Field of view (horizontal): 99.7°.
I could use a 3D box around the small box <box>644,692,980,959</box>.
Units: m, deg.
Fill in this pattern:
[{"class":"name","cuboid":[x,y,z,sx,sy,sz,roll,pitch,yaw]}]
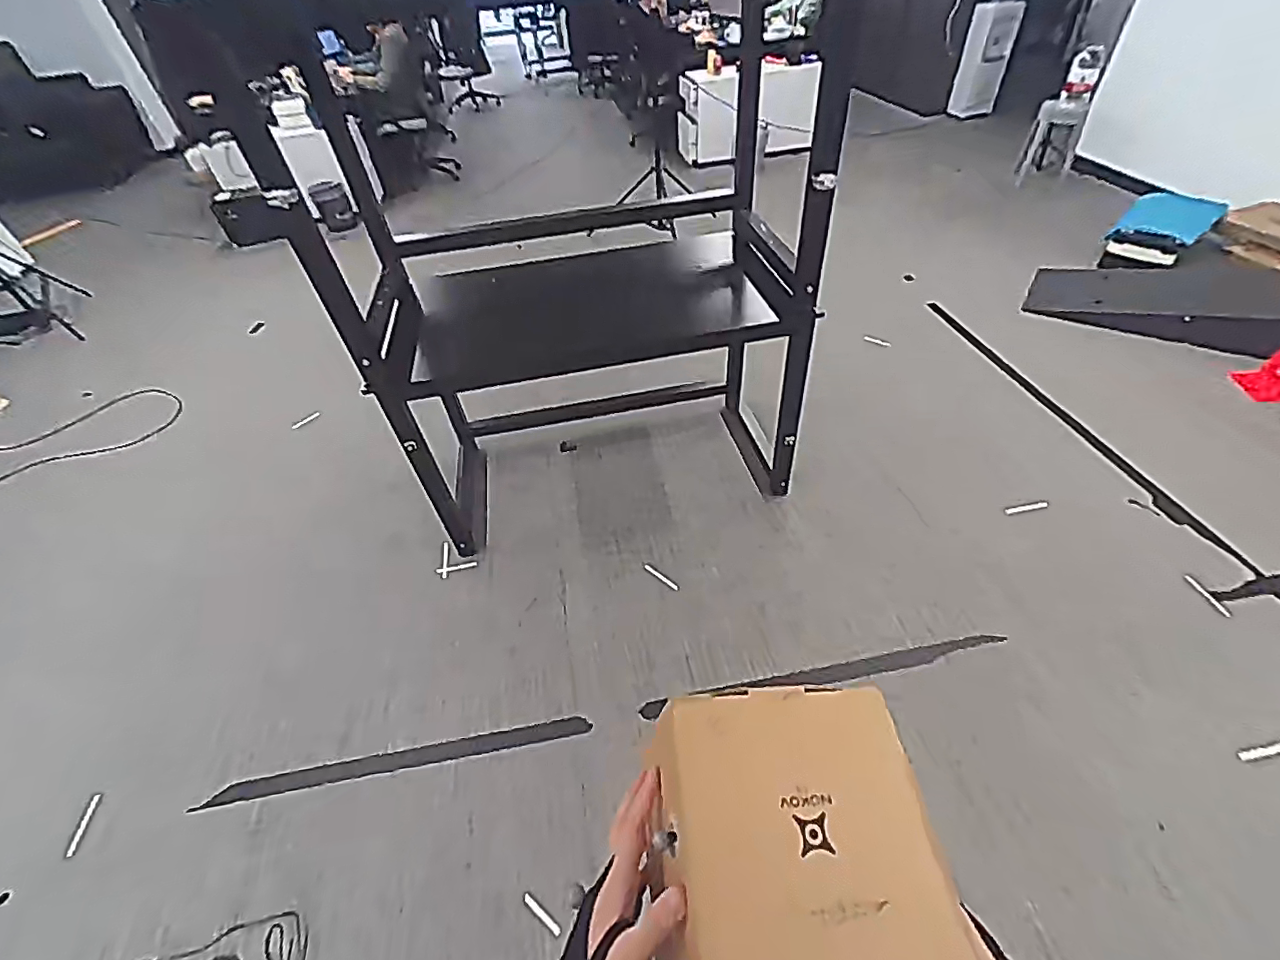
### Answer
[{"class":"small box","cuboid":[0.099,0.276,0.403,0.168,0.176,0.179,2,50,-9]}]
